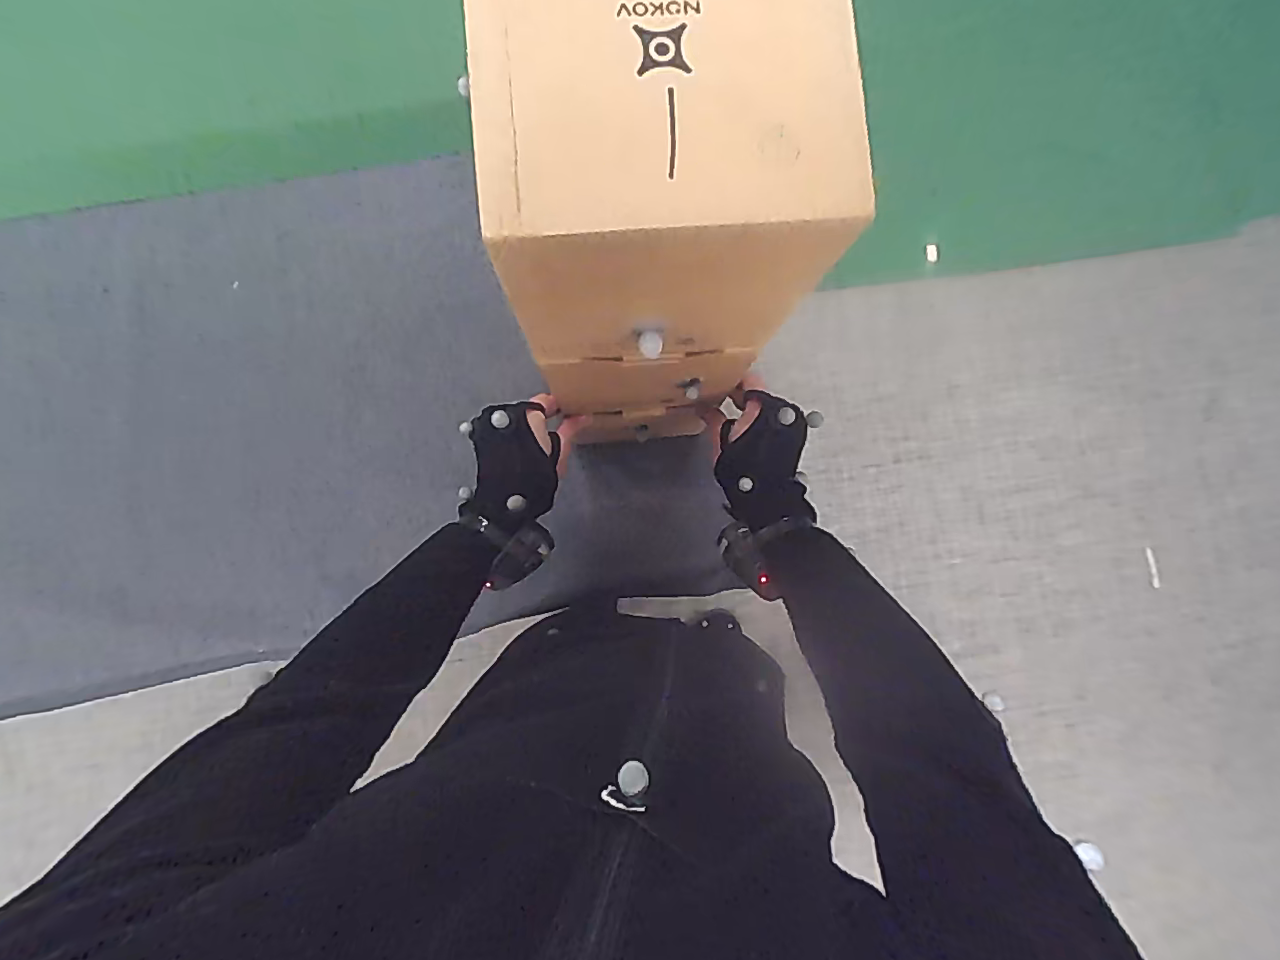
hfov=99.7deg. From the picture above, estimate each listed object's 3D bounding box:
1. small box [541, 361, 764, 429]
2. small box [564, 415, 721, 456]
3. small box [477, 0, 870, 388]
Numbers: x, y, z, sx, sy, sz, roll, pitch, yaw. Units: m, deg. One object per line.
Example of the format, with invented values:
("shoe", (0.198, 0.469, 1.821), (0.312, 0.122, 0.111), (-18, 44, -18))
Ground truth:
("small box", (0.001, -0.146, 0.481), (0.168, 0.176, 0.179), (-6, 83, -3))
("small box", (-0.005, -0.126, 0.643), (0.168, 0.176, 0.179), (-6, 84, -2))
("small box", (0.008, -0.165, 0.318), (0.168, 0.176, 0.179), (-5, 86, -3))
